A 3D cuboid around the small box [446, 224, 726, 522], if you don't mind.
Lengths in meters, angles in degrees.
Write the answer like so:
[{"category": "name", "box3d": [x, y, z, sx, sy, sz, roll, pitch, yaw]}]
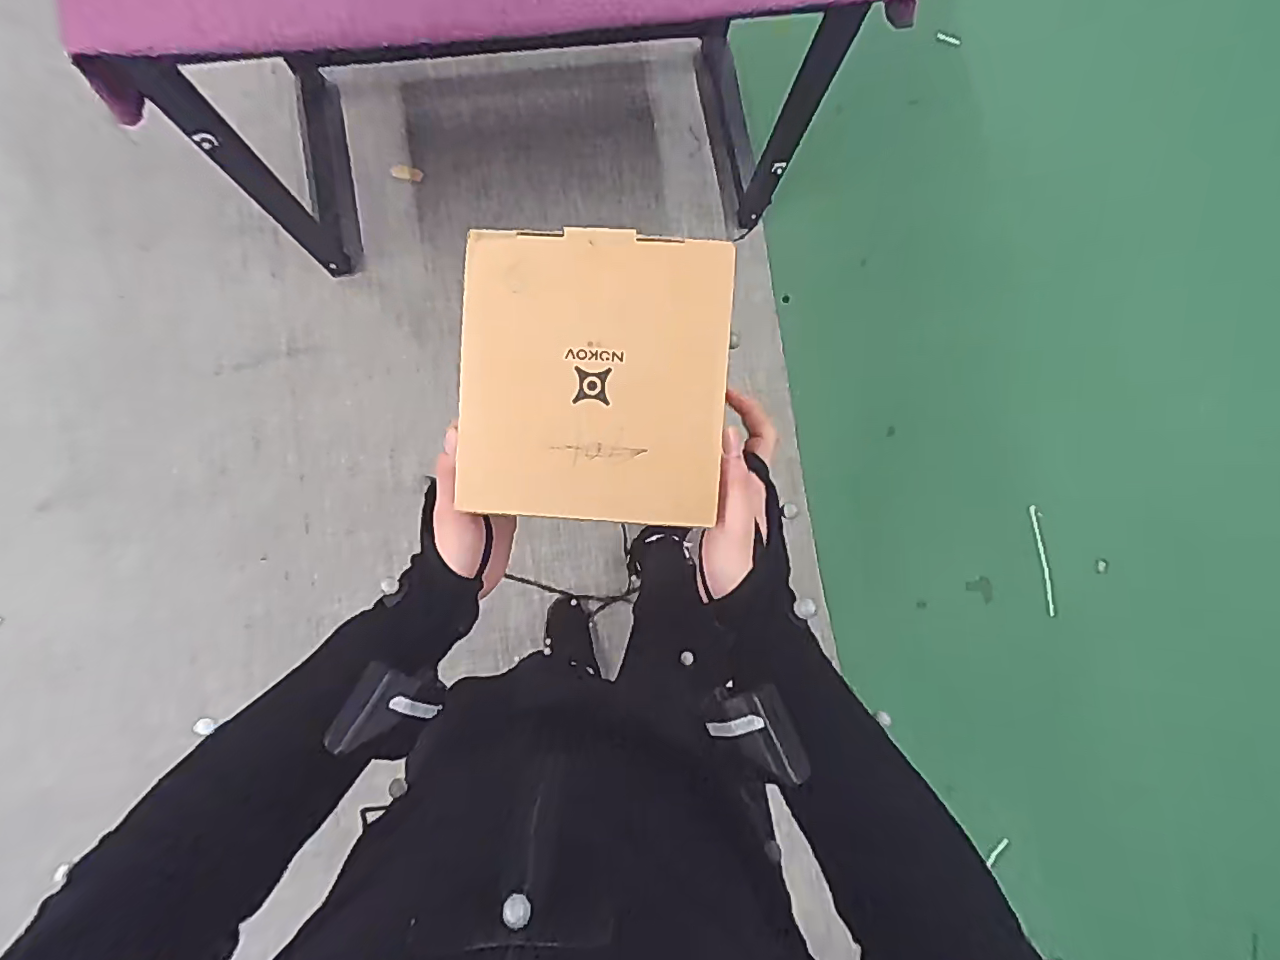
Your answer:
[{"category": "small box", "box3d": [-0.032, -0.069, 0.412, 0.168, 0.176, 0.179, 4, 94, 3]}]
